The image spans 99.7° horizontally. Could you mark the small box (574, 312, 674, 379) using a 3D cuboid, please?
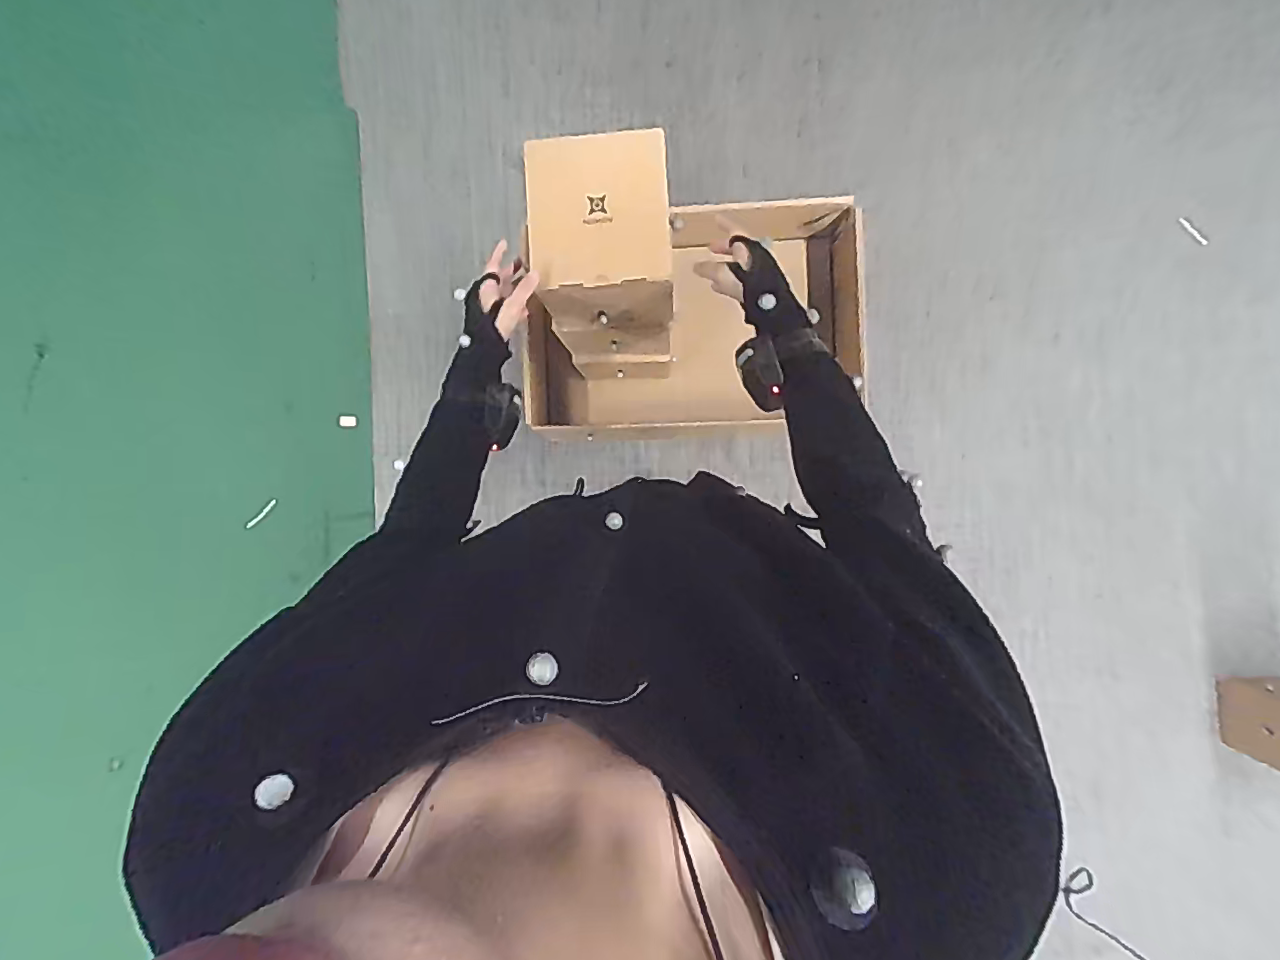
[{"bbox_3d":[-0.025,-0.289,1.023,0.179,0.176,0.168,-1,89,3],"label":"small box"}]

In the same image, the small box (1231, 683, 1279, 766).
[{"bbox_3d":[1.627,0.611,1.333,0.168,0.176,0.179,-4,89,4],"label":"small box"}]

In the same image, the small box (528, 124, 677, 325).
[{"bbox_3d":[-0.041,-0.314,0.697,0.168,0.176,0.179,-4,90,4],"label":"small box"}]
